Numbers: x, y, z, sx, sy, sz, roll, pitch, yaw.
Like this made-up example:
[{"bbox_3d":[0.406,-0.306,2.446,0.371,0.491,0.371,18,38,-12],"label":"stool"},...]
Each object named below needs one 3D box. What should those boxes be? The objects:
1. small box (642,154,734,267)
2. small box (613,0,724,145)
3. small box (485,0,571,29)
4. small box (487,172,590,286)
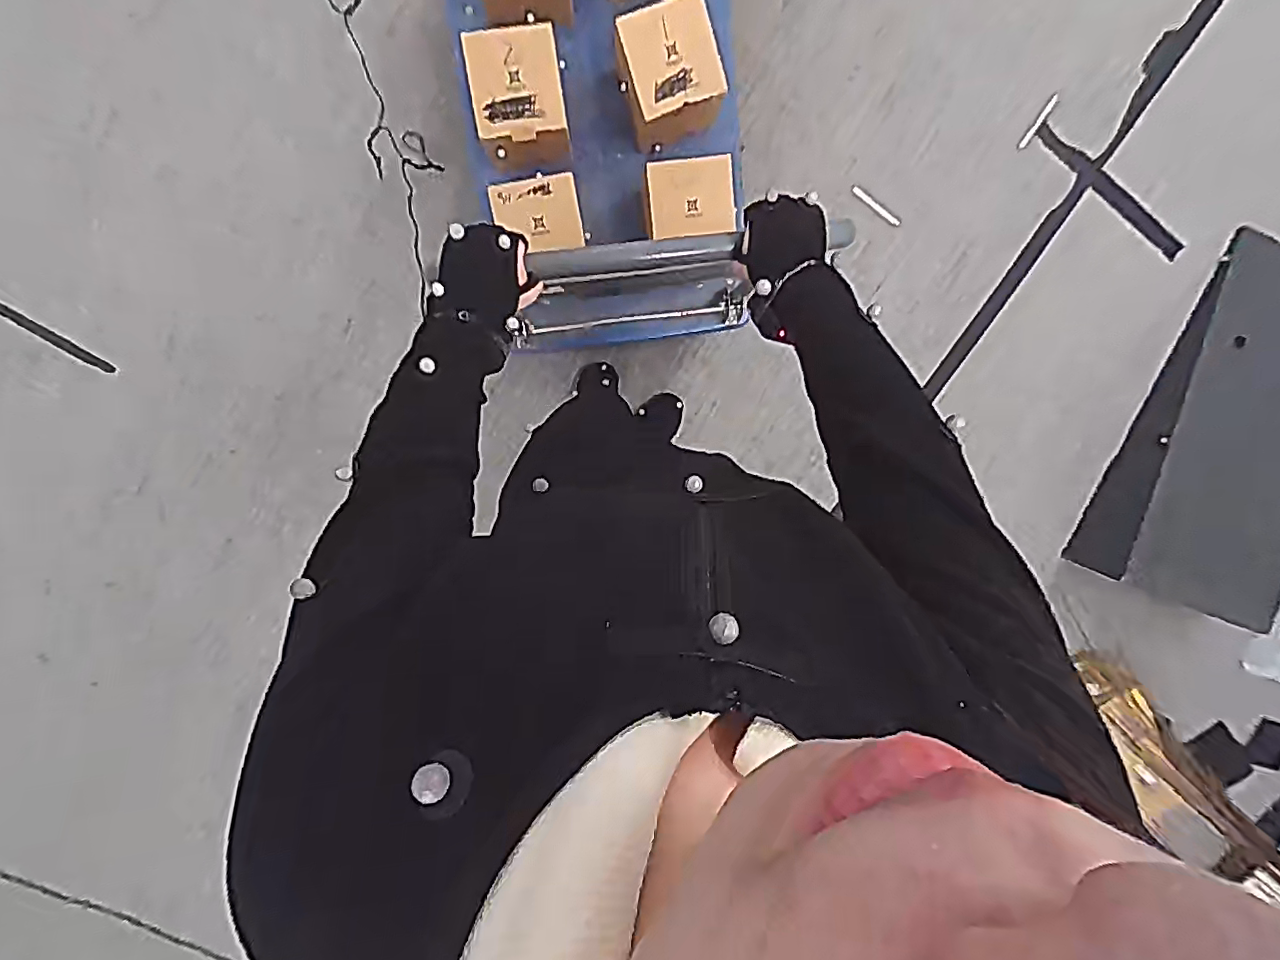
[{"bbox_3d":[0.096,-0.549,1.125,0.168,0.176,0.179,-6,103,-2],"label":"small box"},{"bbox_3d":[0.052,-0.795,1.066,0.168,0.176,0.179,-19,102,1],"label":"small box"},{"bbox_3d":[-0.222,-0.992,1.006,0.168,0.176,0.179,-5,104,-2],"label":"small box"},{"bbox_3d":[-0.199,-0.505,1.117,0.168,0.176,0.179,-11,103,-2],"label":"small box"}]
